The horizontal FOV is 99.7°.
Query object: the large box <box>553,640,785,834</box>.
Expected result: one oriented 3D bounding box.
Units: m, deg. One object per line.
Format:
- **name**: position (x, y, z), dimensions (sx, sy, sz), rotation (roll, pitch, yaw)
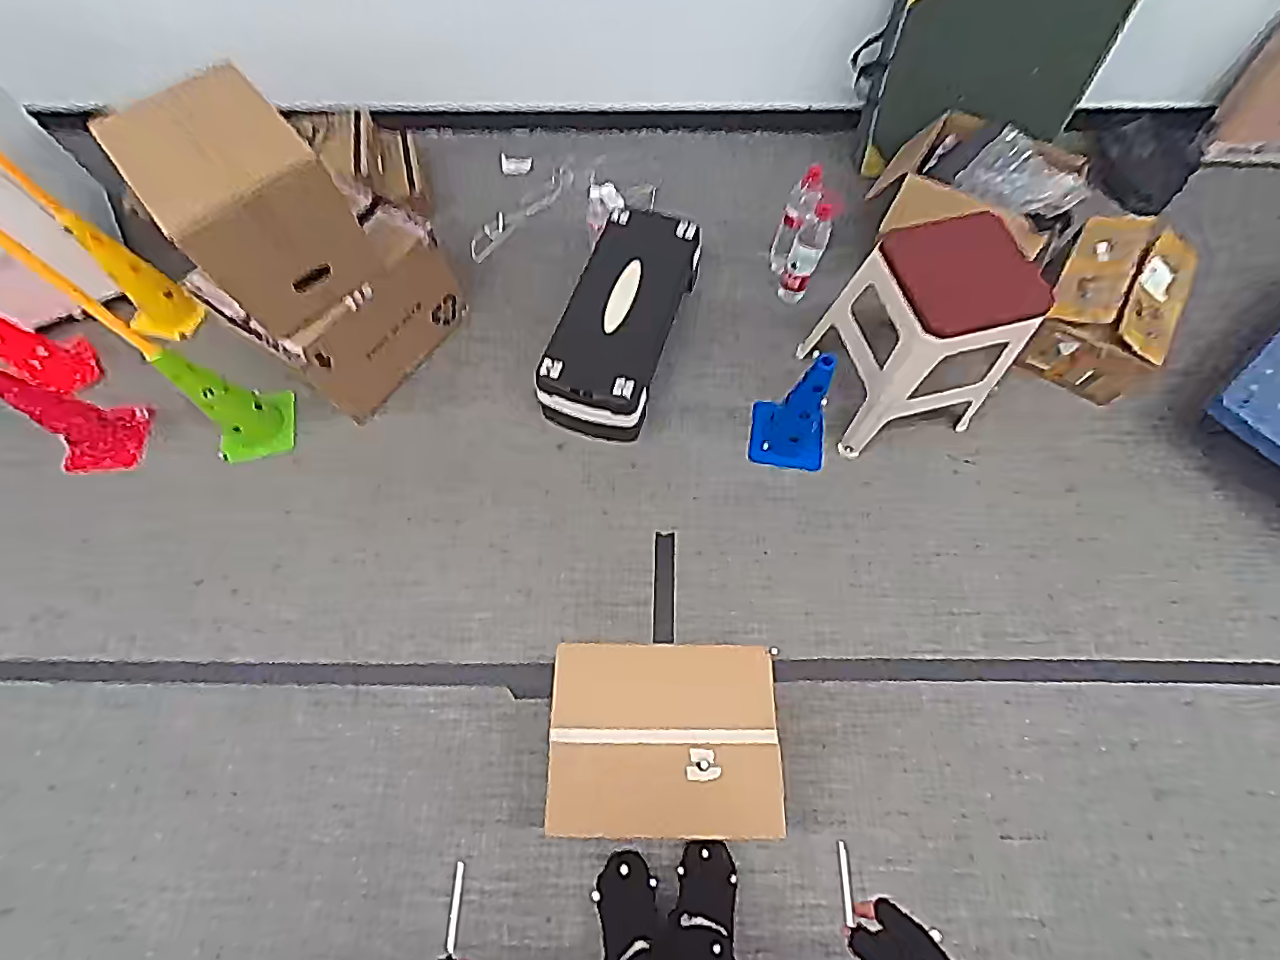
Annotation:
- **large box**: position (0.044, 0.509, 1.105), dimensions (0.408, 0.320, 0.320), rotation (0, 68, -1)
